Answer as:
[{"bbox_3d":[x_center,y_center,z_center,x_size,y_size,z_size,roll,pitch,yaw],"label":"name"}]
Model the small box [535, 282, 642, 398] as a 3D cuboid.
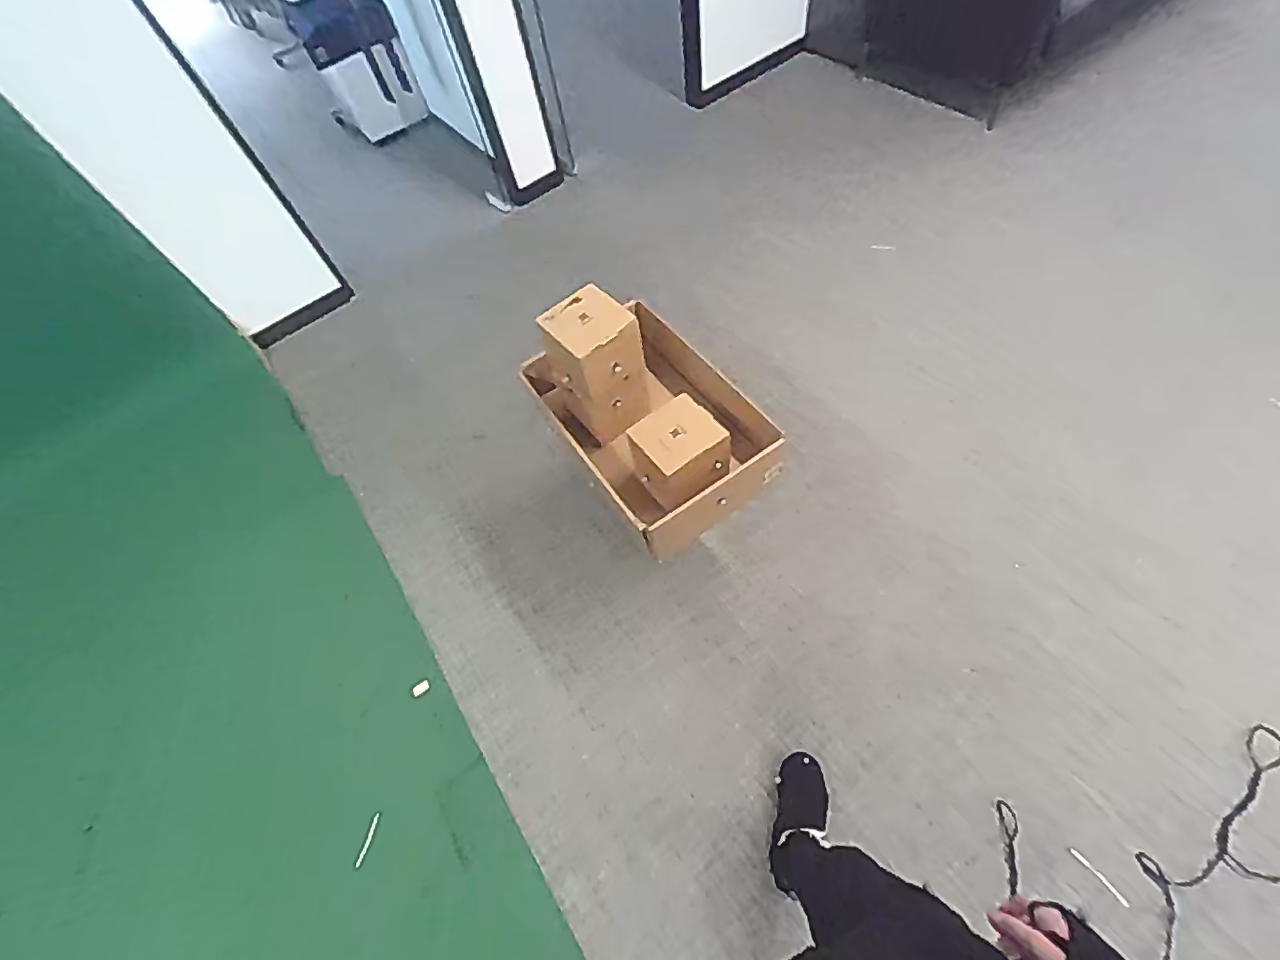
[{"bbox_3d":[-0.112,-0.316,1.258,0.168,0.176,0.179,-38,62,-14],"label":"small box"}]
